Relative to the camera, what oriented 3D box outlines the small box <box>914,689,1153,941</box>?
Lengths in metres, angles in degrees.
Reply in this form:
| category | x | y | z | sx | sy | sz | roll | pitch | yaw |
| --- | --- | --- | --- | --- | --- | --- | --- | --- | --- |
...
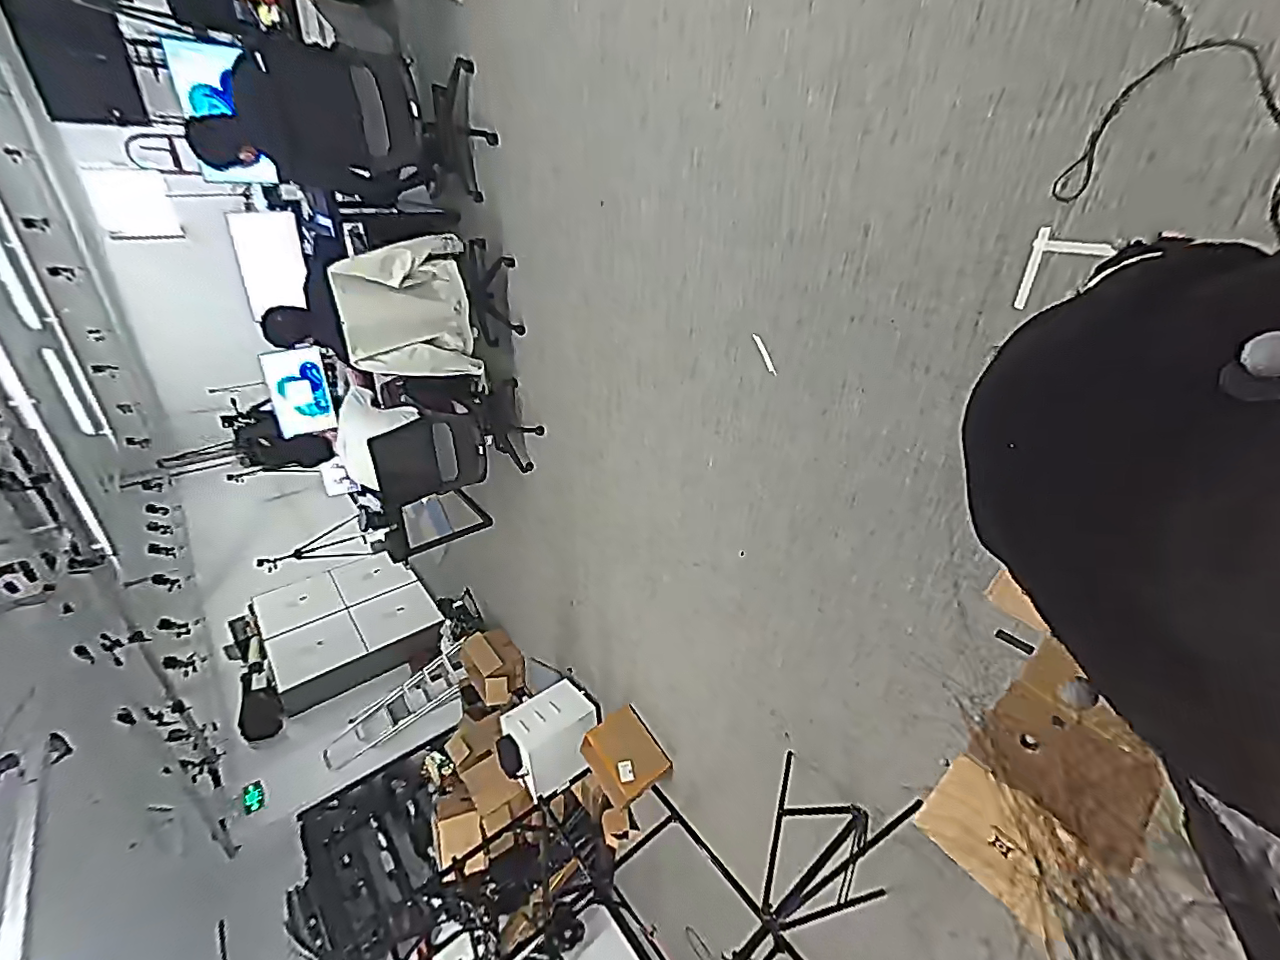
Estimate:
| category | x | y | z | sx | sy | sz | roll | pitch | yaw |
| --- | --- | --- | --- | --- | --- | --- | --- | --- | --- |
| small box | 0.484 | 0.400 | 0.671 | 0.168 | 0.176 | 0.179 | 36 | 136 | 39 |

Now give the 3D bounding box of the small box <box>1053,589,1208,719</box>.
| category | x | y | z | sx | sy | sz | roll | pitch | yaw |
| --- | --- | --- | --- | --- | --- | --- | --- | --- | --- |
| small box | 0.736 | 0.303 | 0.852 | 0.168 | 0.176 | 0.179 | 38 | 135 | 37 |

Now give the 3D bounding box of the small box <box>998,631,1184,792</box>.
| category | x | y | z | sx | sy | sz | roll | pitch | yaw |
| --- | --- | --- | --- | --- | --- | --- | --- | --- | --- |
| small box | 0.610 | 0.348 | 0.760 | 0.168 | 0.176 | 0.179 | 36 | 134 | 38 |
